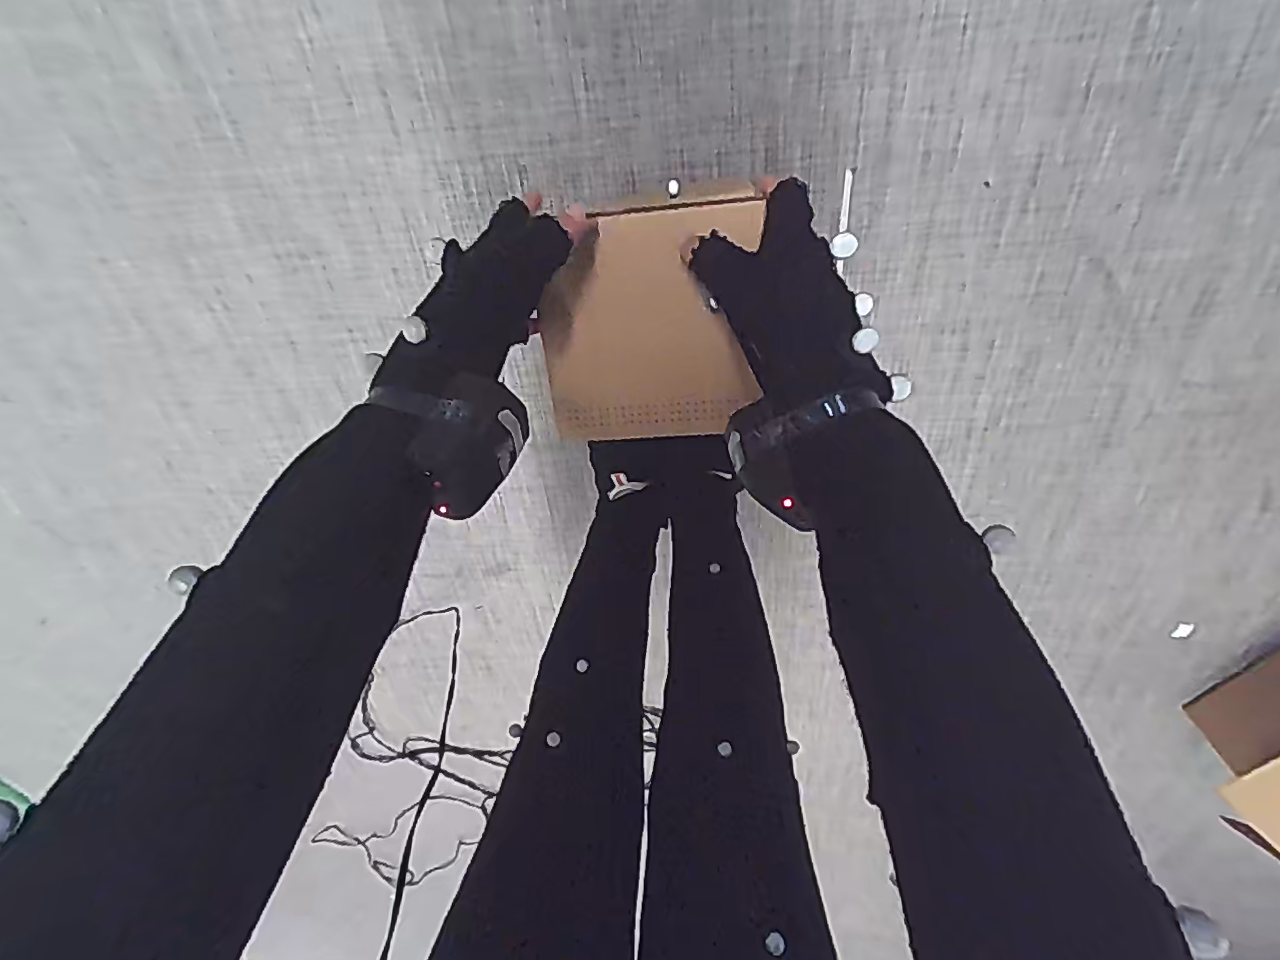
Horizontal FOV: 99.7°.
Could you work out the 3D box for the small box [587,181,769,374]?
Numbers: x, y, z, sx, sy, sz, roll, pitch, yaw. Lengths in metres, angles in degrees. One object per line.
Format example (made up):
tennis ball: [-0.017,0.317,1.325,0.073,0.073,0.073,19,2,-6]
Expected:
small box: [0.050,-0.238,0.627,0.179,0.176,0.168,-4,121,10]
